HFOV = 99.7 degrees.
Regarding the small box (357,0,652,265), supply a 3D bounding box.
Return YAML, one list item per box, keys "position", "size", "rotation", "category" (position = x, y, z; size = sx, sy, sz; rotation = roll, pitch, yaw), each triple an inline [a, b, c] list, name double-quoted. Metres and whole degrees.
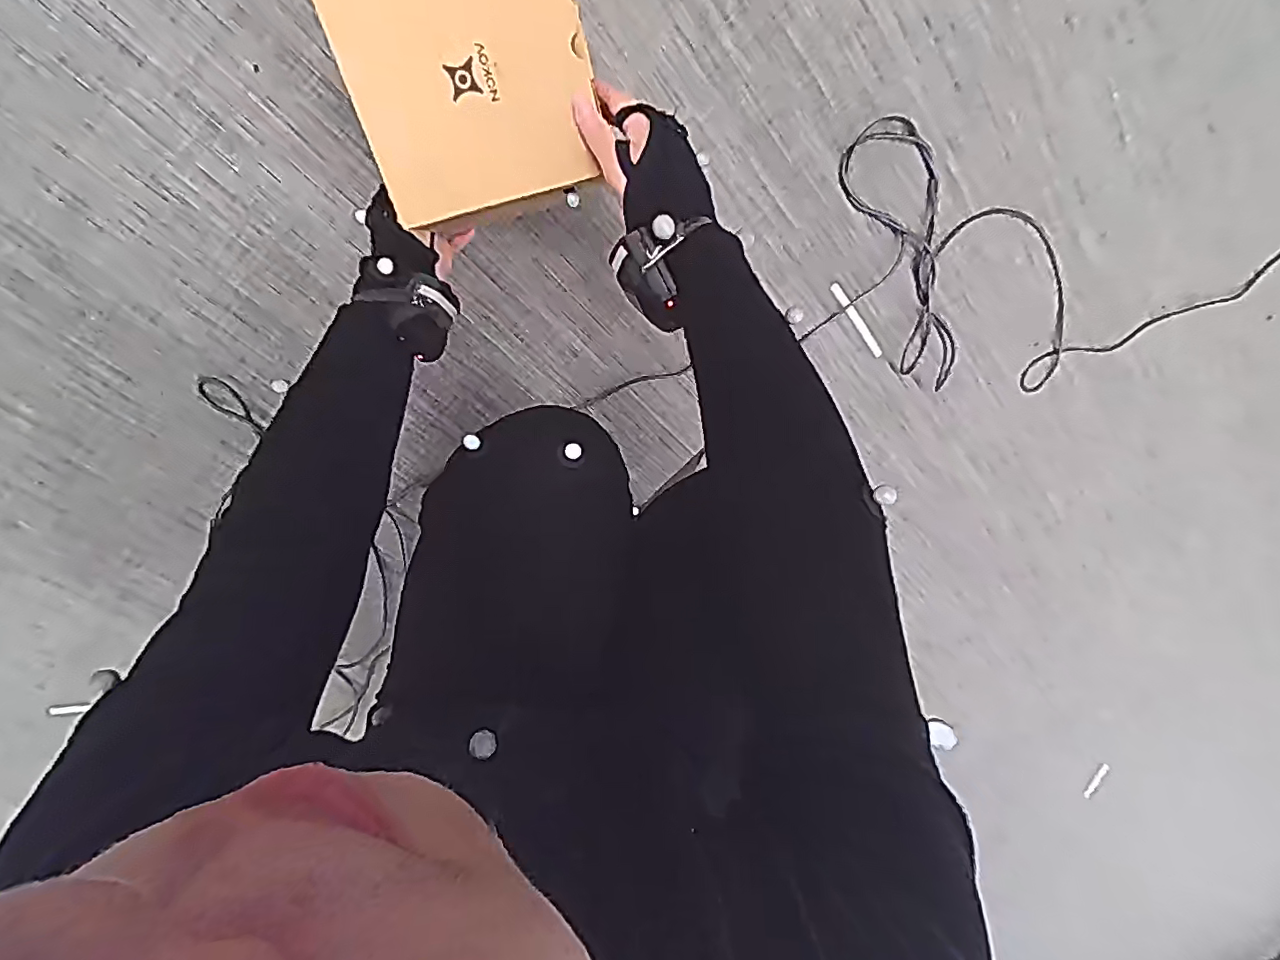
- position: [-0.104, -0.302, 0.422]
  size: [0.168, 0.176, 0.179]
  rotation: [-22, 97, -14]
  category: "small box"
